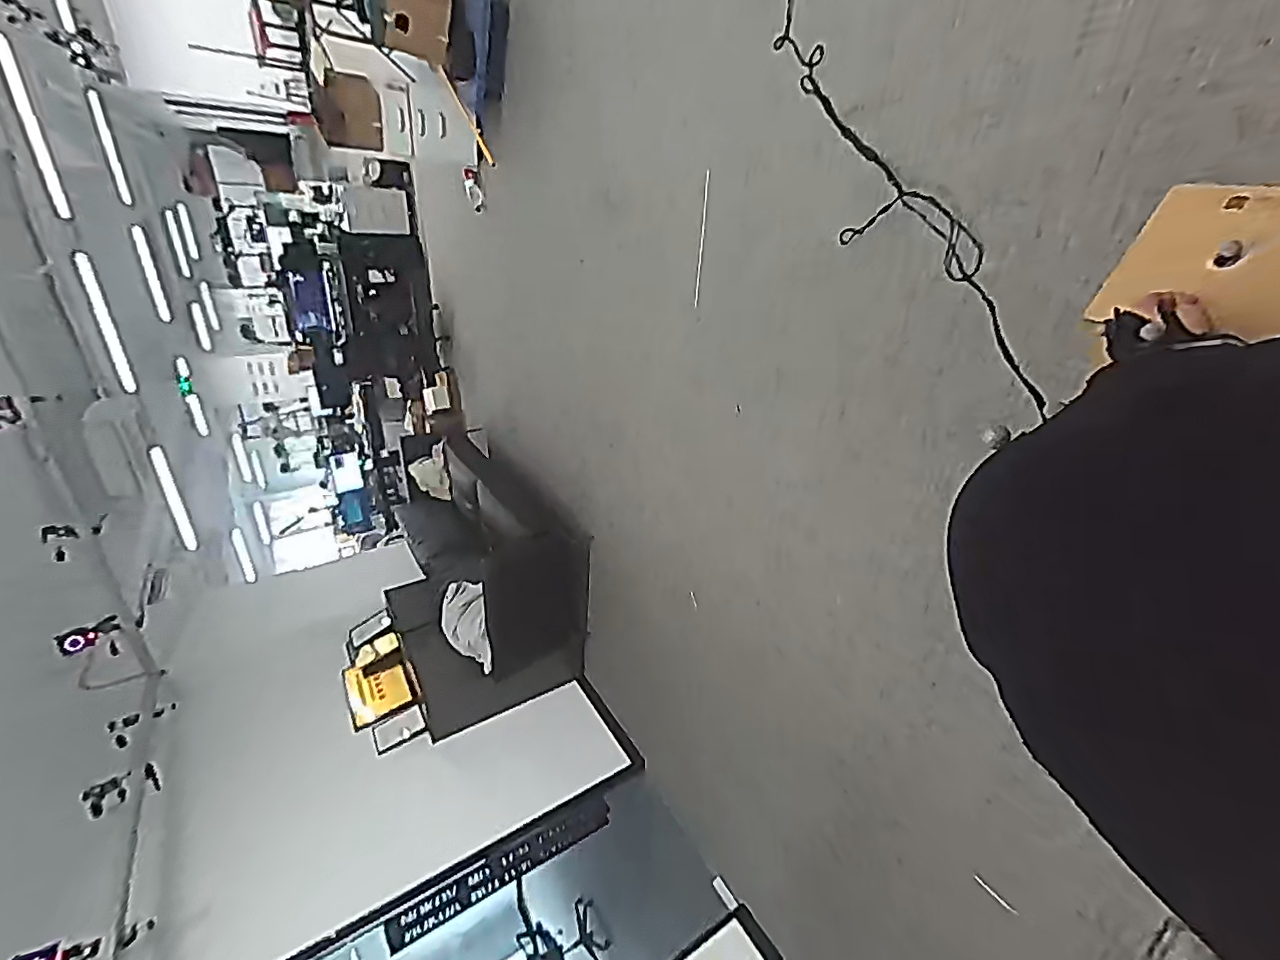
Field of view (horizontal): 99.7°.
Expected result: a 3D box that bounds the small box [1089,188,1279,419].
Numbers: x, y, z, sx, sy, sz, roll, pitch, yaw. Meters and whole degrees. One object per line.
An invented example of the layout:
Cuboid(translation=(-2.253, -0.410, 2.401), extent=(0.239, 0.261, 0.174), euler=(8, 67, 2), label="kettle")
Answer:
Cuboid(translation=(0.641, -0.195, 0.595), extent=(0.168, 0.179, 0.176), euler=(35, 98, 47), label="small box")
